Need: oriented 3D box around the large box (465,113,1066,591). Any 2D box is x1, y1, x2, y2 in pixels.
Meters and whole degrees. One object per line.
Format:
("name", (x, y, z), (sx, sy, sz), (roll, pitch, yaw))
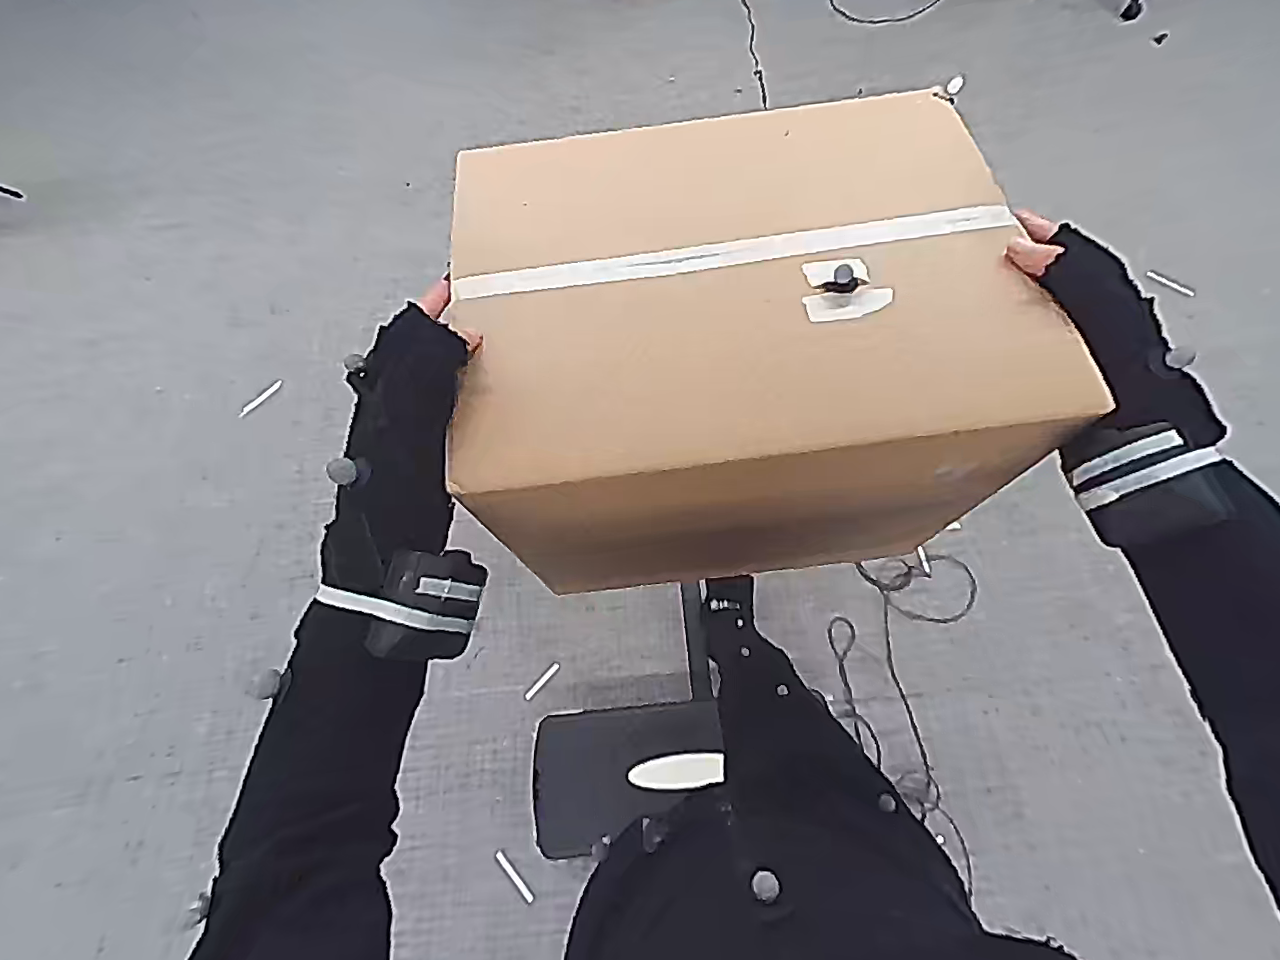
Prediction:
("large box", (0.072, -0.097, 0.546), (0.408, 0.320, 0.320), (-7, 66, 1))
